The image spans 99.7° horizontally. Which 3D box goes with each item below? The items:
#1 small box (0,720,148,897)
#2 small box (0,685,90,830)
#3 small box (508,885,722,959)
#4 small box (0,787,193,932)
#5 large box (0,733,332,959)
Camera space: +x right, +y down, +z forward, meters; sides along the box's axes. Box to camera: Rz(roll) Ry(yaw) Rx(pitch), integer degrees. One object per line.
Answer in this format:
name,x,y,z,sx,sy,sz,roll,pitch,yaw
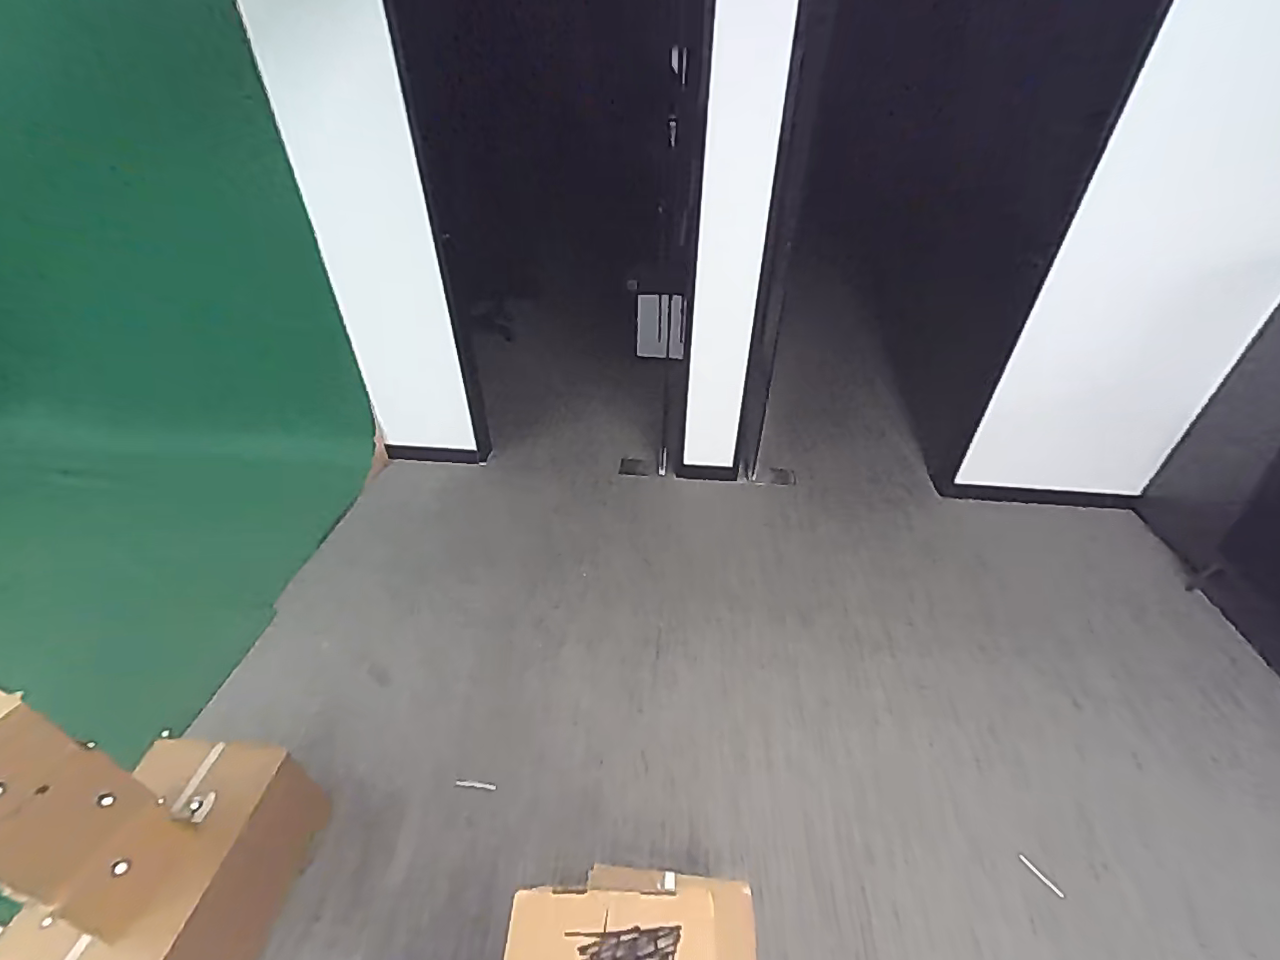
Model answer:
small box,-0.968,0.530,0.883,0.168,0.176,0.179,12,40,15
small box,-0.976,0.402,0.780,0.179,0.176,0.168,12,39,16
small box,-0.018,0.452,0.427,0.168,0.176,0.179,-1,40,3
small box,-0.964,0.665,0.975,0.168,0.176,0.179,10,39,12
large box,-0.957,0.826,1.163,0.320,0.320,0.408,4,37,3
